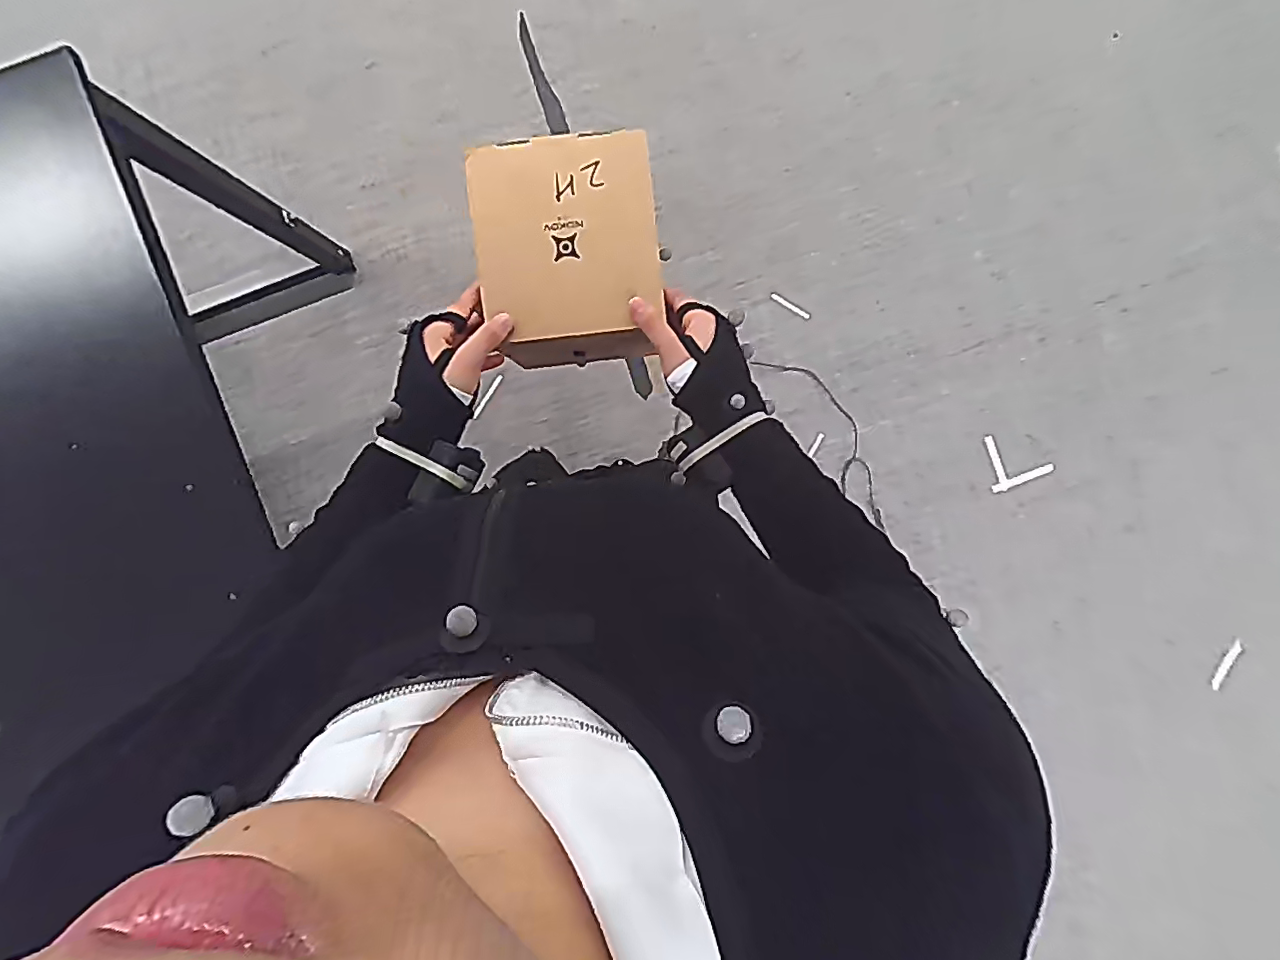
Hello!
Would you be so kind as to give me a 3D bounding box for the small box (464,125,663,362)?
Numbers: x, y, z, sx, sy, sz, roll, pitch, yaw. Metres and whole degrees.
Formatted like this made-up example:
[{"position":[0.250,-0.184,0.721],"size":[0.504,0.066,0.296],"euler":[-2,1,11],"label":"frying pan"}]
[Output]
[{"position":[-0.066,-0.224,0.562],"size":[0.168,0.176,0.179],"euler":[-7,93,0],"label":"small box"}]
